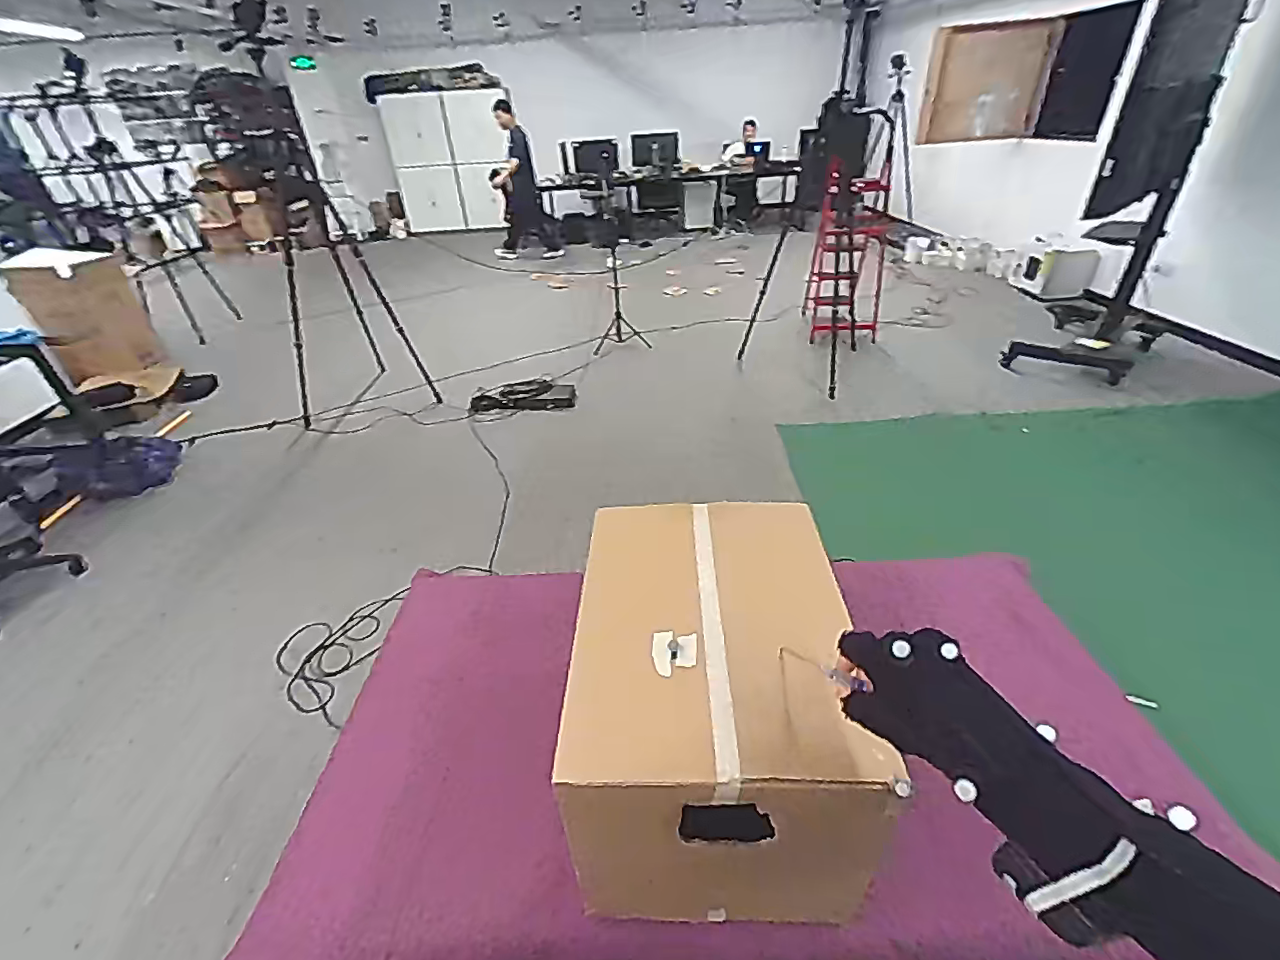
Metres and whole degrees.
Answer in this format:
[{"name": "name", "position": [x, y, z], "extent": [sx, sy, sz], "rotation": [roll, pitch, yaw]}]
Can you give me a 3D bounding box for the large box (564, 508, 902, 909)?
[{"name": "large box", "position": [0.090, 0.280, 0.731], "extent": [0.320, 0.320, 0.408], "rotation": [-1, 35, 3]}]
